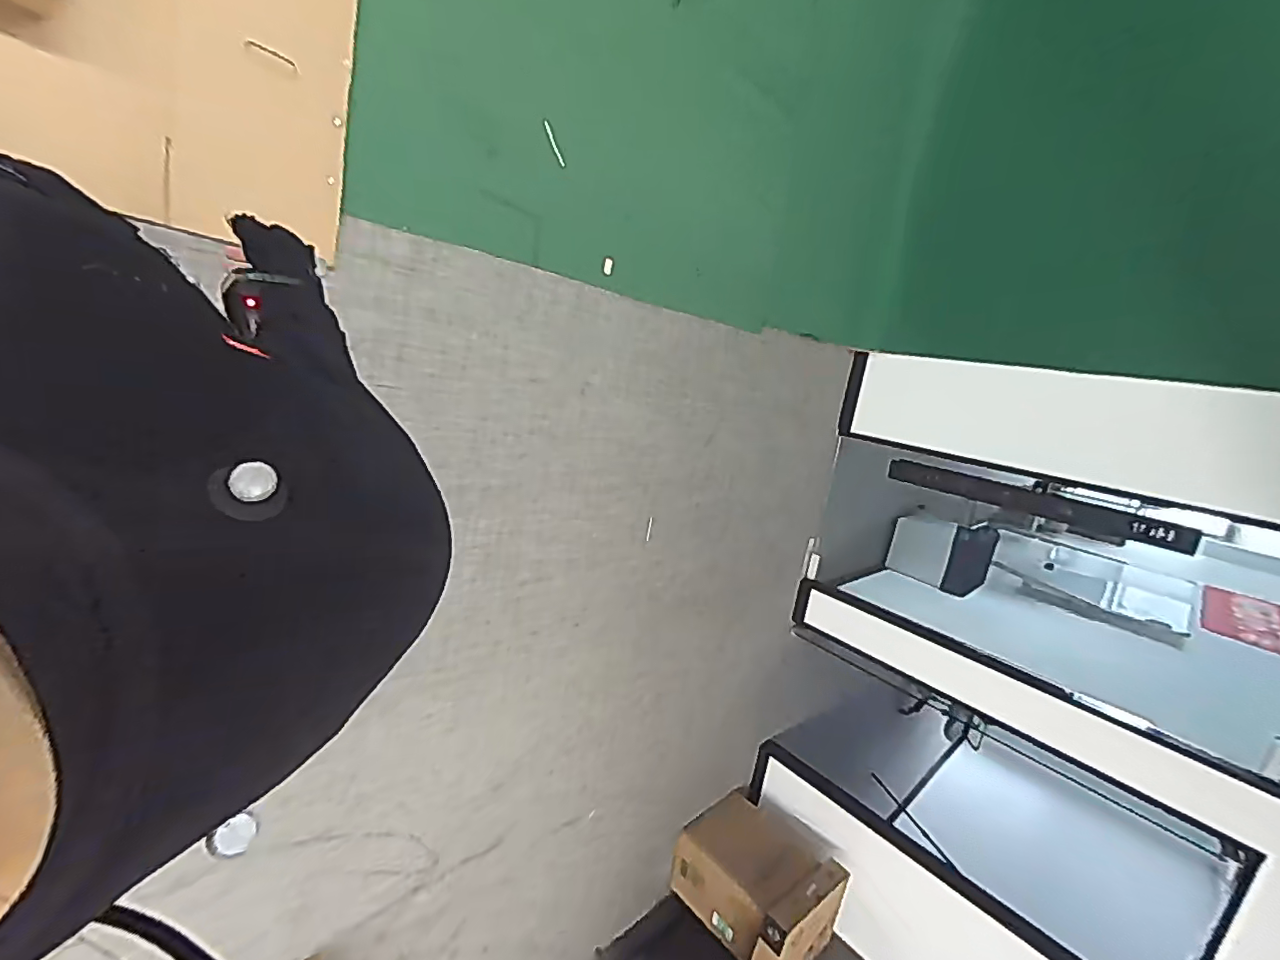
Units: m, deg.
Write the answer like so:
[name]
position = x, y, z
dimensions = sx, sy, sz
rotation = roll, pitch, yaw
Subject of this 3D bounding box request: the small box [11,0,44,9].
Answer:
[small box]
position = -0.963, -0.823, 0.758
dimensions = 0.168, 0.176, 0.179
rotation = 3, 102, -44
